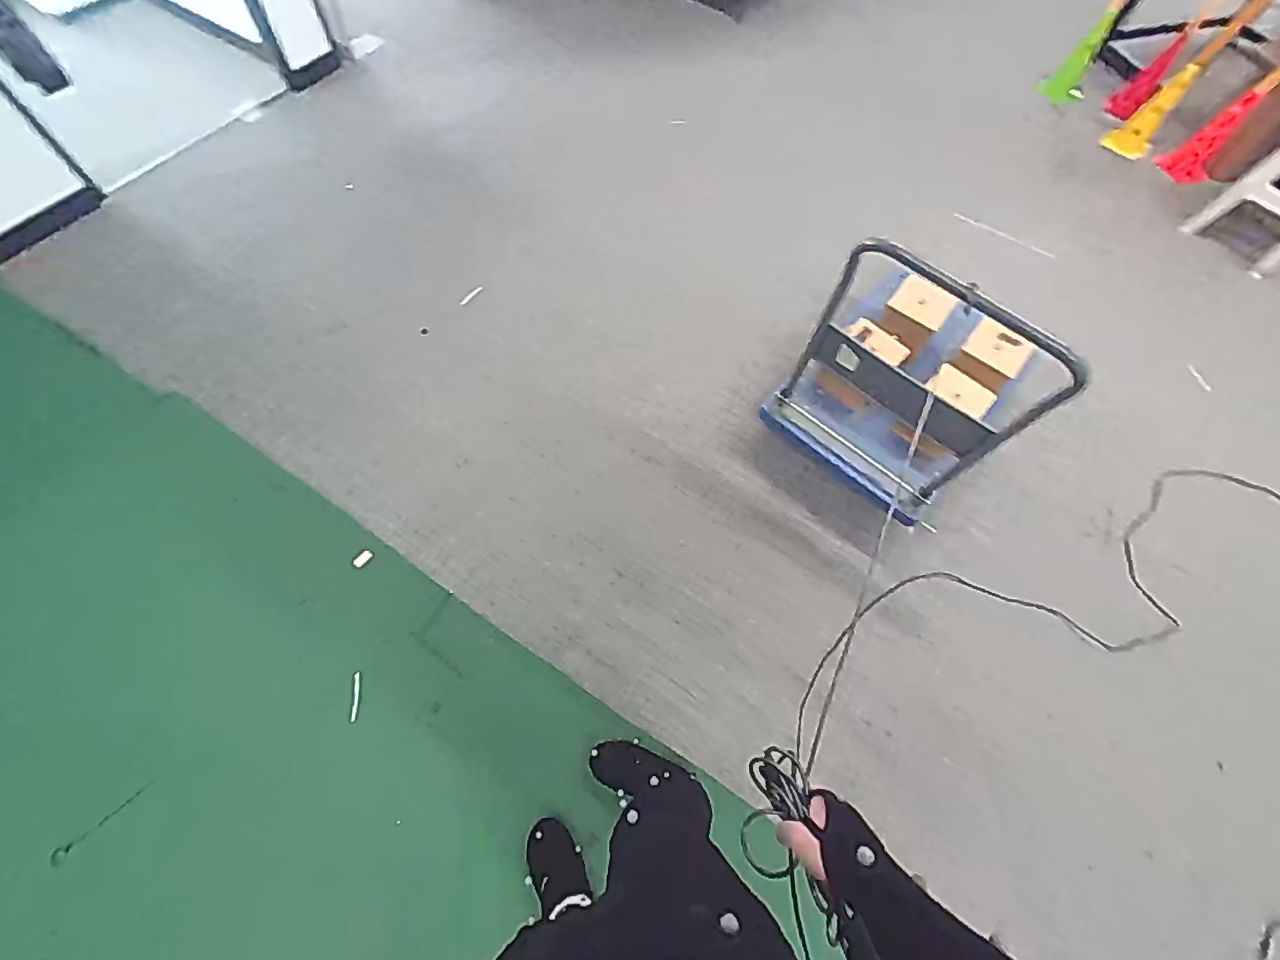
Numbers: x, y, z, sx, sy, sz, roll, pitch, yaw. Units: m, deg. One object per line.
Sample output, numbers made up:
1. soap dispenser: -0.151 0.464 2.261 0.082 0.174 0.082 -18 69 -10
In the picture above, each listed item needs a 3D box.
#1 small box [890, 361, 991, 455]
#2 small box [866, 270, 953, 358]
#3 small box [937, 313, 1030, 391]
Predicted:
1. small box: 0.878 -0.210 1.597 0.168 0.176 0.179 41 69 15
2. small box: 0.859 -0.529 1.745 0.168 0.176 0.179 37 68 12
3. small box: 1.055 -0.375 1.684 0.168 0.176 0.179 38 69 14
